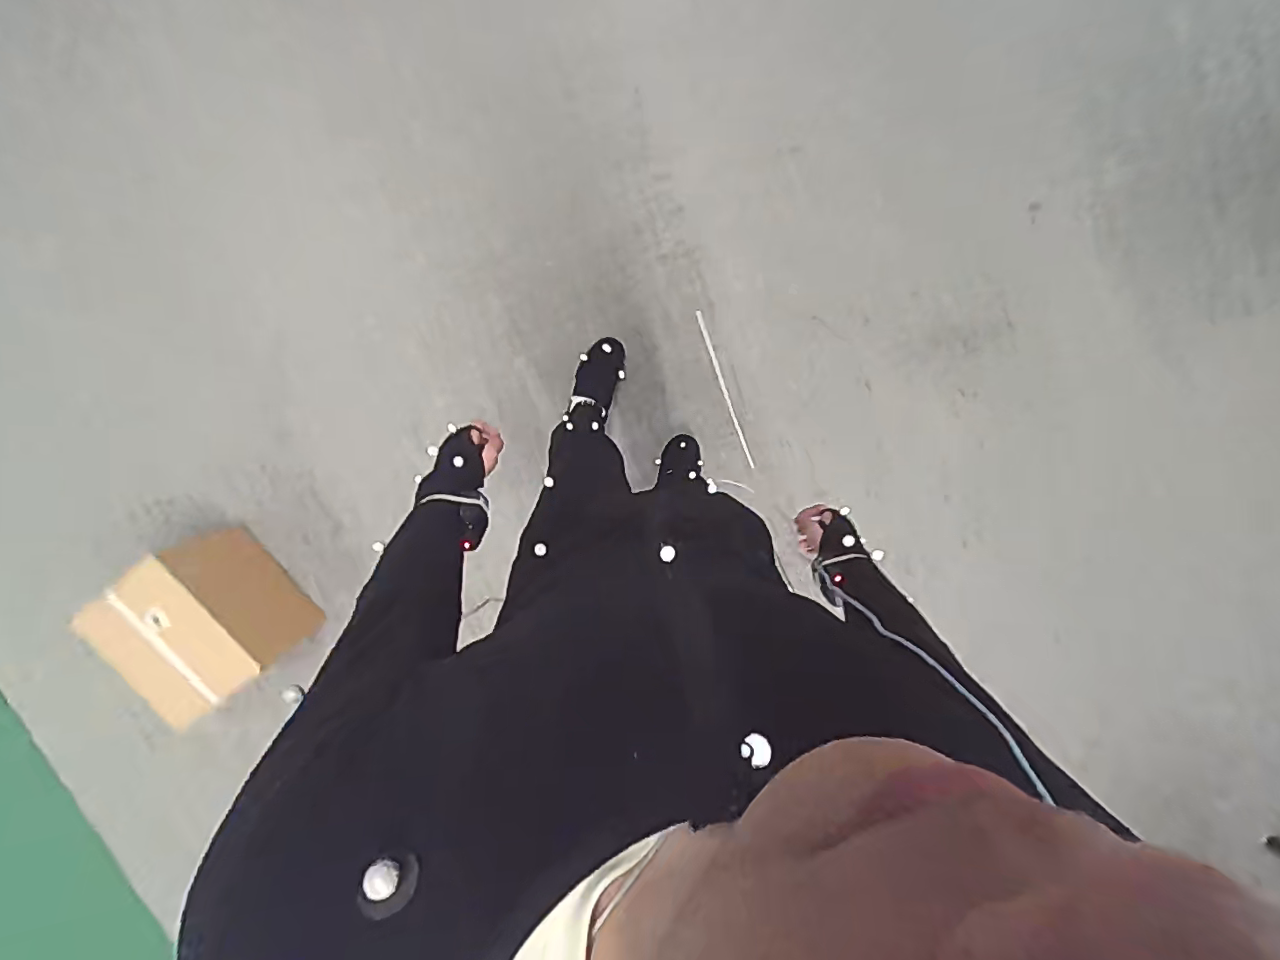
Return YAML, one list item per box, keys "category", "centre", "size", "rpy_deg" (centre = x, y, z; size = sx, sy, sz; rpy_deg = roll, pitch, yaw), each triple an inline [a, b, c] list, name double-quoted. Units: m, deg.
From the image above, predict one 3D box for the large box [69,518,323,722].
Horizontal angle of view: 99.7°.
- category: "large box"
  centre: [-1.226, 0.381, 1.541]
  size: [0.320, 0.320, 0.408]
  rpy_deg: [-35, 98, 6]
